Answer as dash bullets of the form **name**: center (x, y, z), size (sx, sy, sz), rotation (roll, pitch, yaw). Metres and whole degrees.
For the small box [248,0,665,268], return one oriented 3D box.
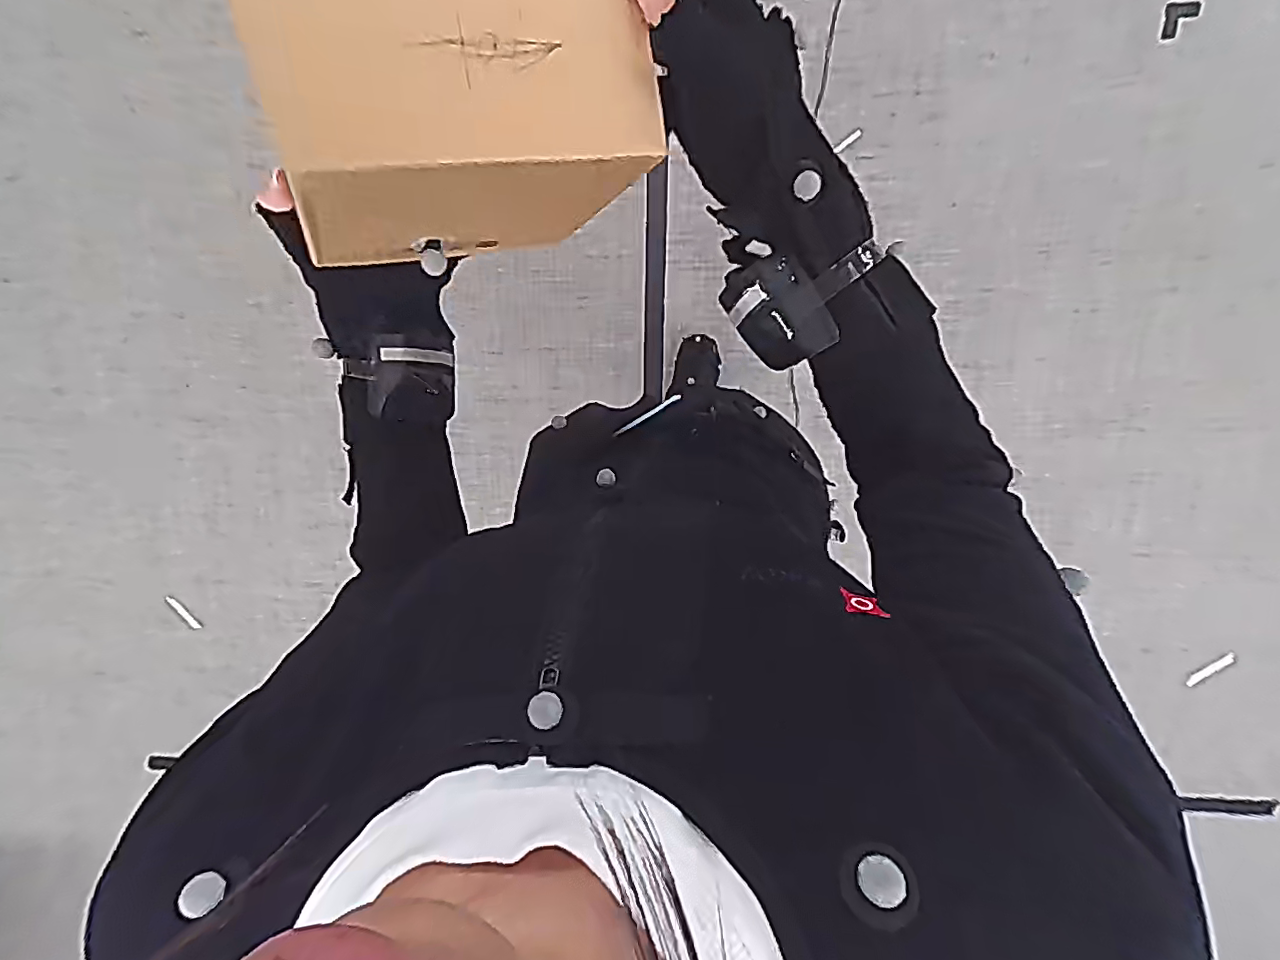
- **small box**: center (-0.111, -0.233, 0.296), size (0.168, 0.176, 0.179), rotation (-18, 105, -23)
